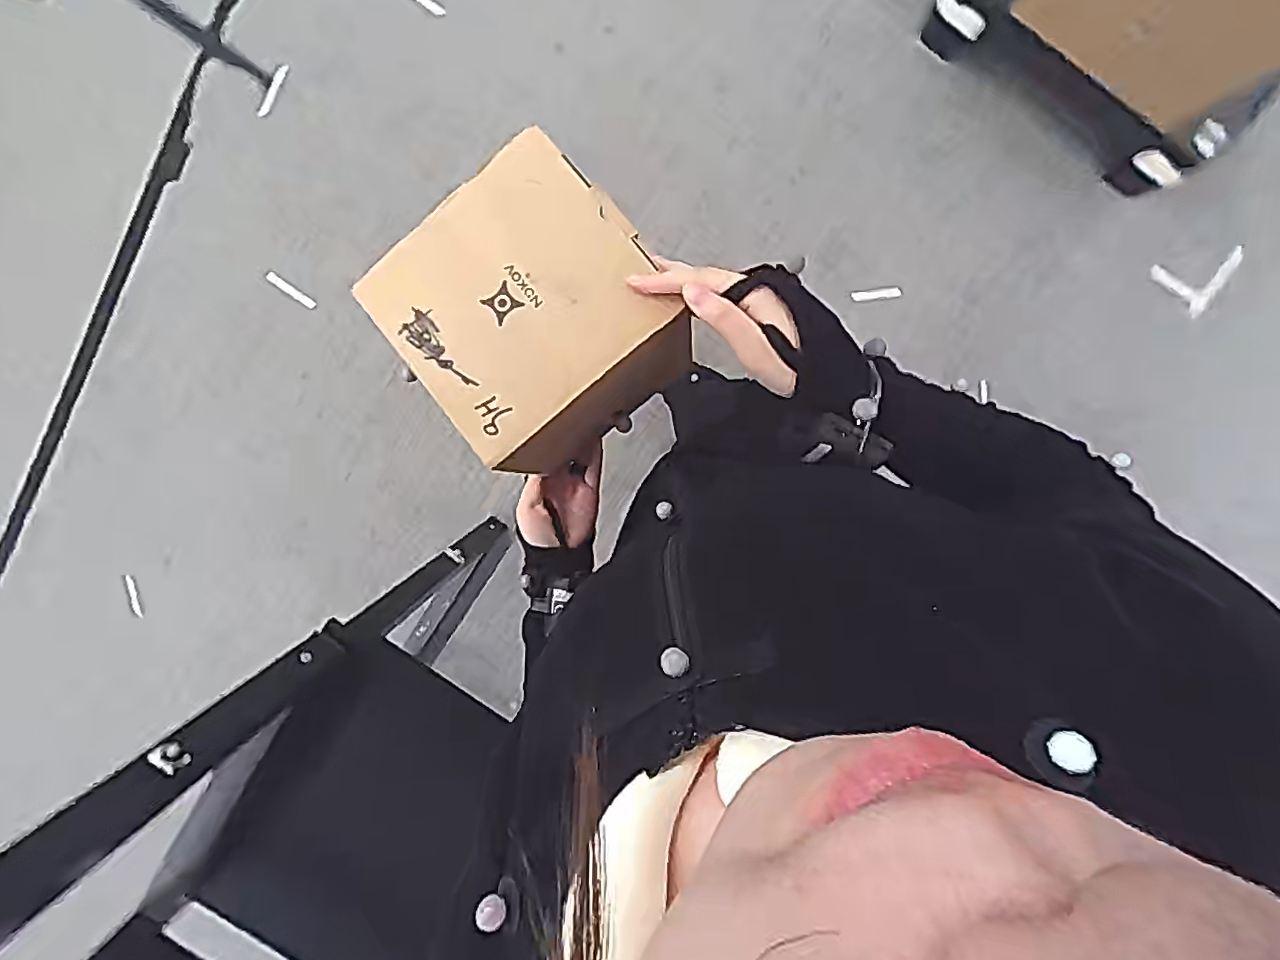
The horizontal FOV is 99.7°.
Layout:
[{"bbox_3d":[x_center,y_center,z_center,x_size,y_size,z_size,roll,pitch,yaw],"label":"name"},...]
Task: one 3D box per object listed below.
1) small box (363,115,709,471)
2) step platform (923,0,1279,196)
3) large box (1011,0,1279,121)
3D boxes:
[{"bbox_3d":[-0.065,-0.124,0.432,0.179,0.176,0.168,-38,84,3],"label":"small box"},{"bbox_3d":[0.967,-0.958,1.150,0.684,0.204,0.286,40,100,-2],"label":"step platform"},{"bbox_3d":[0.971,-0.922,0.914,0.408,0.320,0.320,35,100,-1],"label":"large box"}]
